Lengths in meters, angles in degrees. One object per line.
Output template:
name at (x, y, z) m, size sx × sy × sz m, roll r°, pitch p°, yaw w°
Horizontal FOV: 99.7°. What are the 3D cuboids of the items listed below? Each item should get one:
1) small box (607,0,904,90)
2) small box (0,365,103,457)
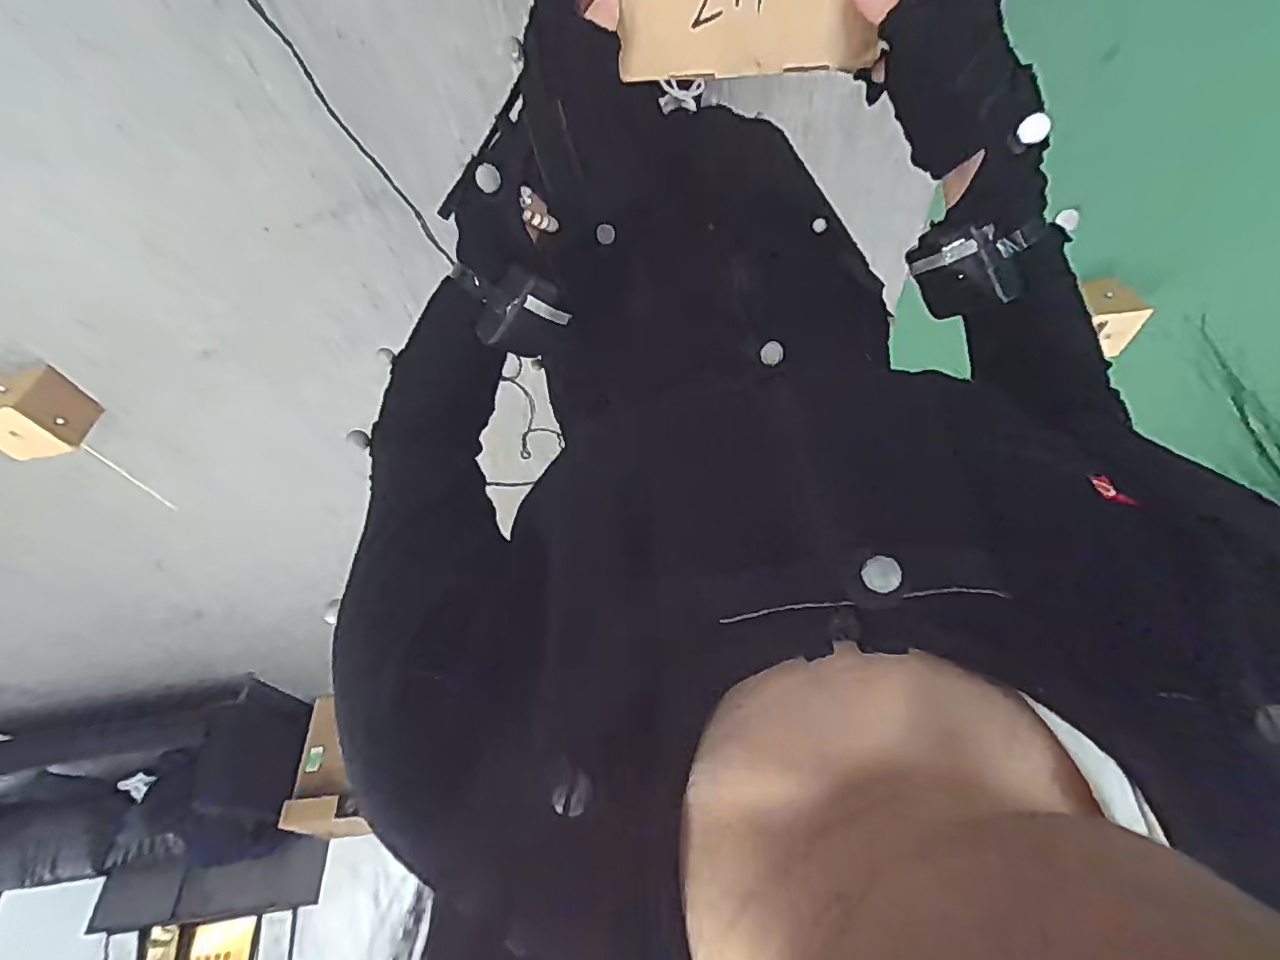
small box at (0.061, -0.362, 0.324) m, size 0.168 × 0.176 × 0.179 m, roll -5°, pitch 138°, yaw -2°
small box at (-1.627, -0.191, 1.450) m, size 0.168 × 0.176 × 0.179 m, roll -9°, pitch 144°, yaw 2°
